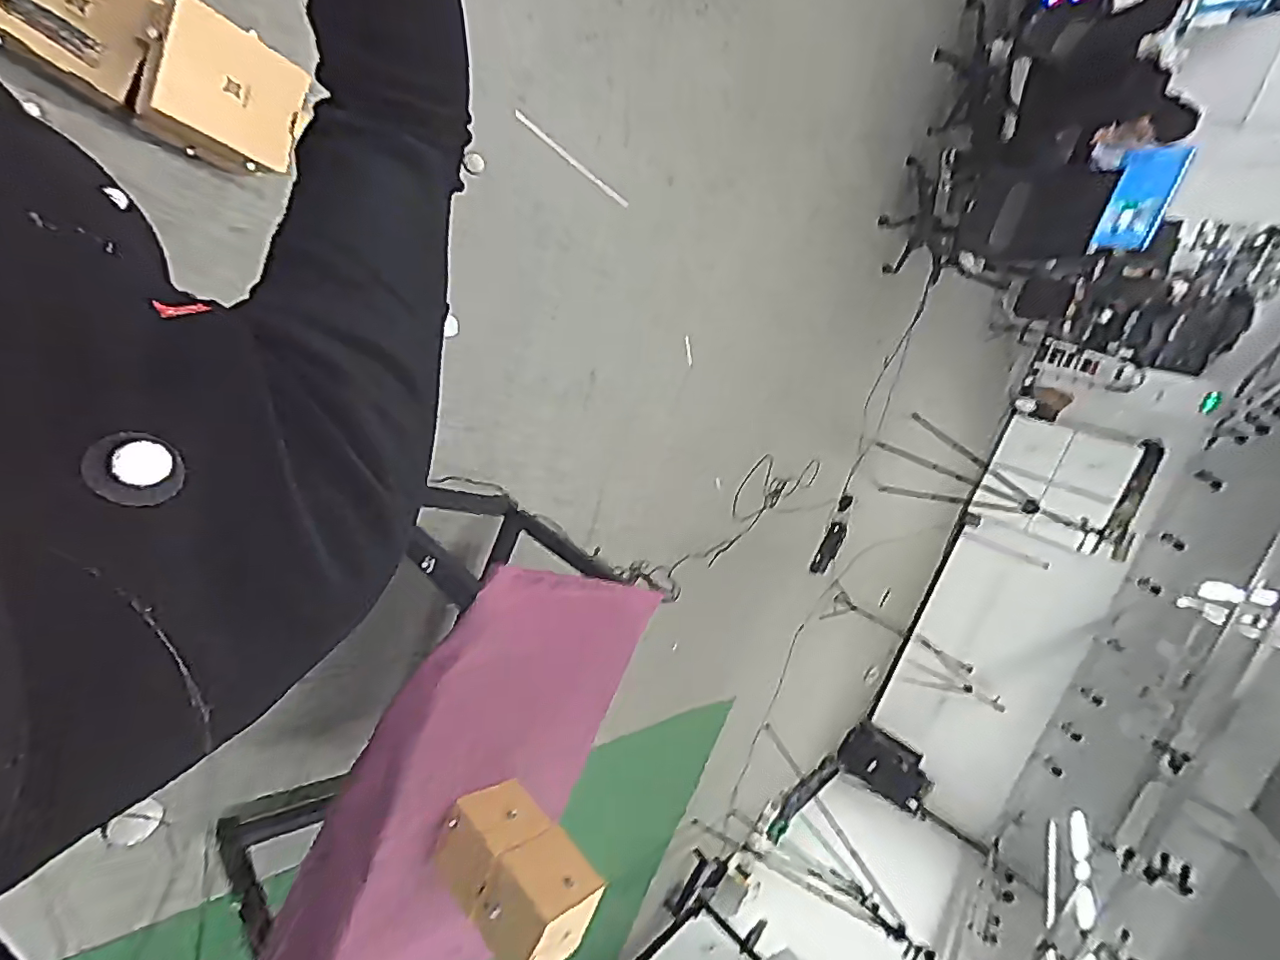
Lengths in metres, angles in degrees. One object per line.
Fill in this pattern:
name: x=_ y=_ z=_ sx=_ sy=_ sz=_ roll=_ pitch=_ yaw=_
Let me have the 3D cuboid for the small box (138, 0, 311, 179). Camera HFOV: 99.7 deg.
small box: x=-0.682 y=-0.619 z=0.884 sx=0.179 sy=0.176 sz=0.168 roll=12 pitch=102 yaw=-53

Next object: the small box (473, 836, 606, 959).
small box: x=-0.210 y=0.892 z=1.126 sx=0.179 sy=0.176 sz=0.168 roll=17 pitch=97 yaw=-52

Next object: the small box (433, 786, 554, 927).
small box: x=-0.333 y=0.834 z=1.219 sx=0.179 sy=0.176 sz=0.168 roll=17 pitch=98 yaw=-53
